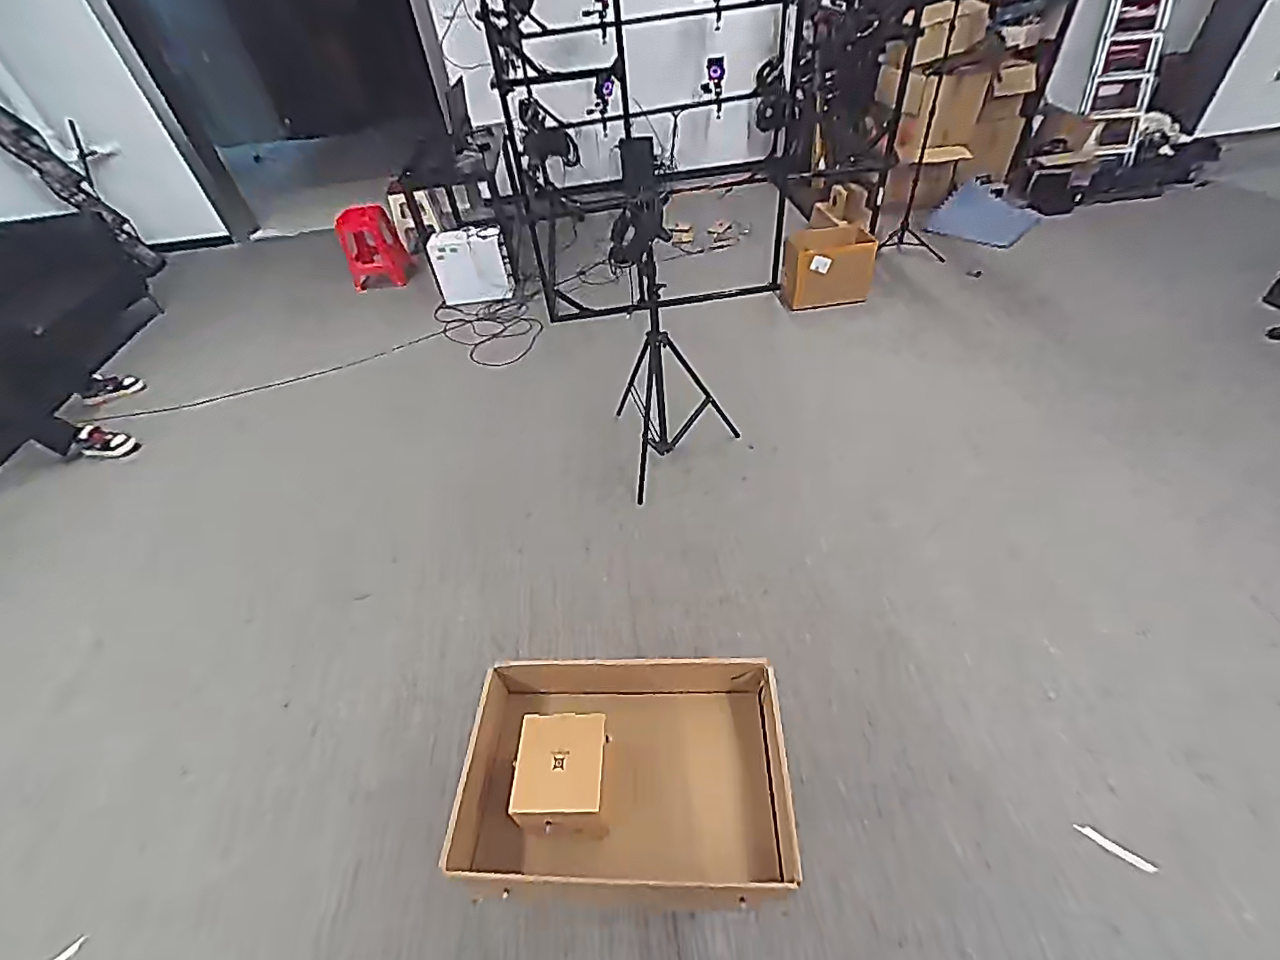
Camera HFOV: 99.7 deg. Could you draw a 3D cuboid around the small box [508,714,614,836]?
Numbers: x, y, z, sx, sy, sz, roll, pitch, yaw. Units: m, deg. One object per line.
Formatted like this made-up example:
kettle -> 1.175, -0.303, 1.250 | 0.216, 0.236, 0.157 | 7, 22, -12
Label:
small box -> -0.144, 0.580, 1.059 | 0.168, 0.176, 0.179 | -3, 43, 4
